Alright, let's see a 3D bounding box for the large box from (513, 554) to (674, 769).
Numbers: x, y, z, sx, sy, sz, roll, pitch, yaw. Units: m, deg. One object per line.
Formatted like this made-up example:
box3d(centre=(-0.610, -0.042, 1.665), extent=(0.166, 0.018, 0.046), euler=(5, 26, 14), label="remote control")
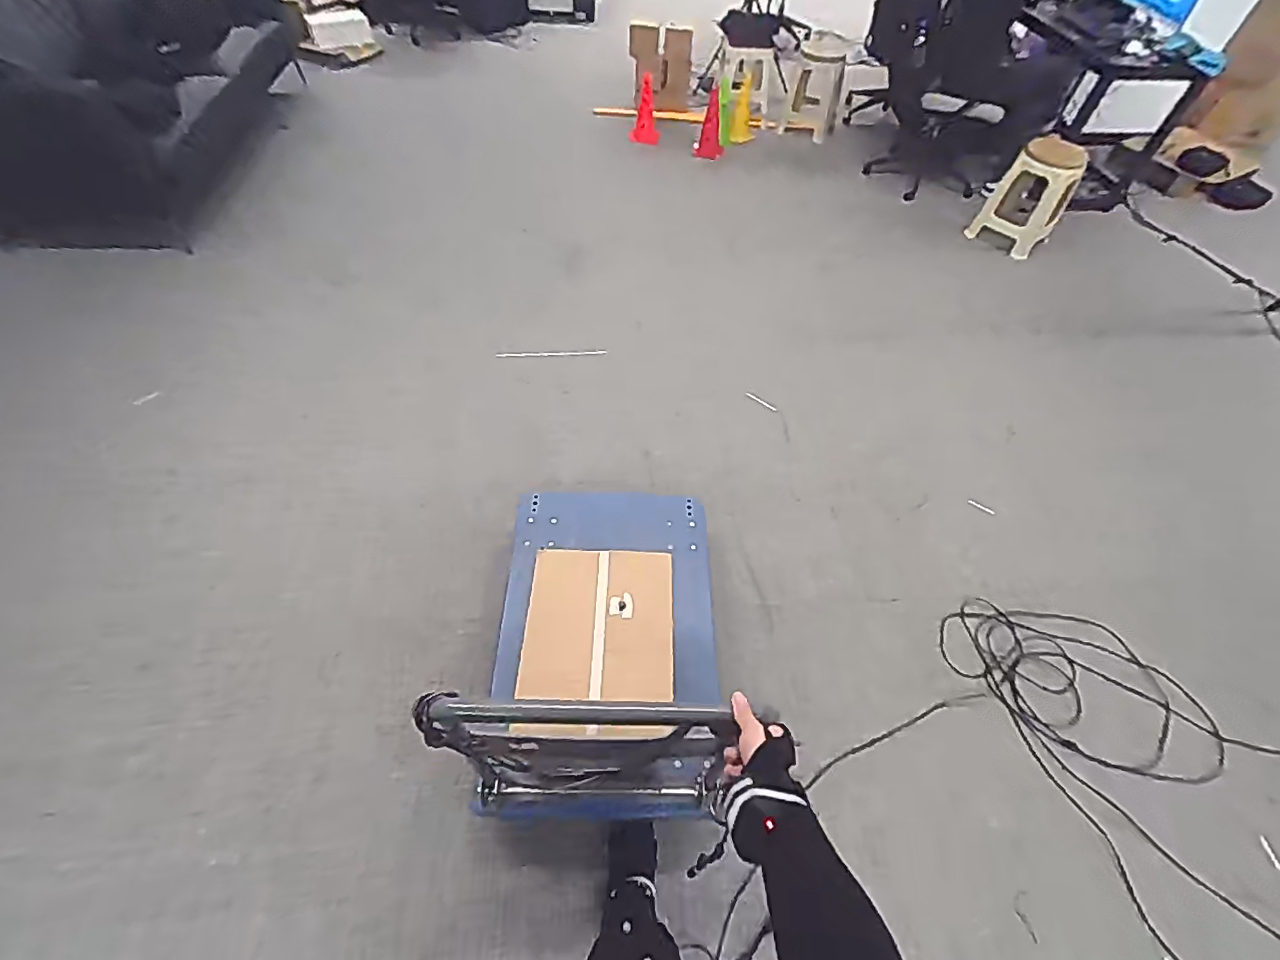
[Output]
box3d(centre=(-0.092, 0.426, 1.262), extent=(0.320, 0.320, 0.408), euler=(3, 52, -1), label="large box")
